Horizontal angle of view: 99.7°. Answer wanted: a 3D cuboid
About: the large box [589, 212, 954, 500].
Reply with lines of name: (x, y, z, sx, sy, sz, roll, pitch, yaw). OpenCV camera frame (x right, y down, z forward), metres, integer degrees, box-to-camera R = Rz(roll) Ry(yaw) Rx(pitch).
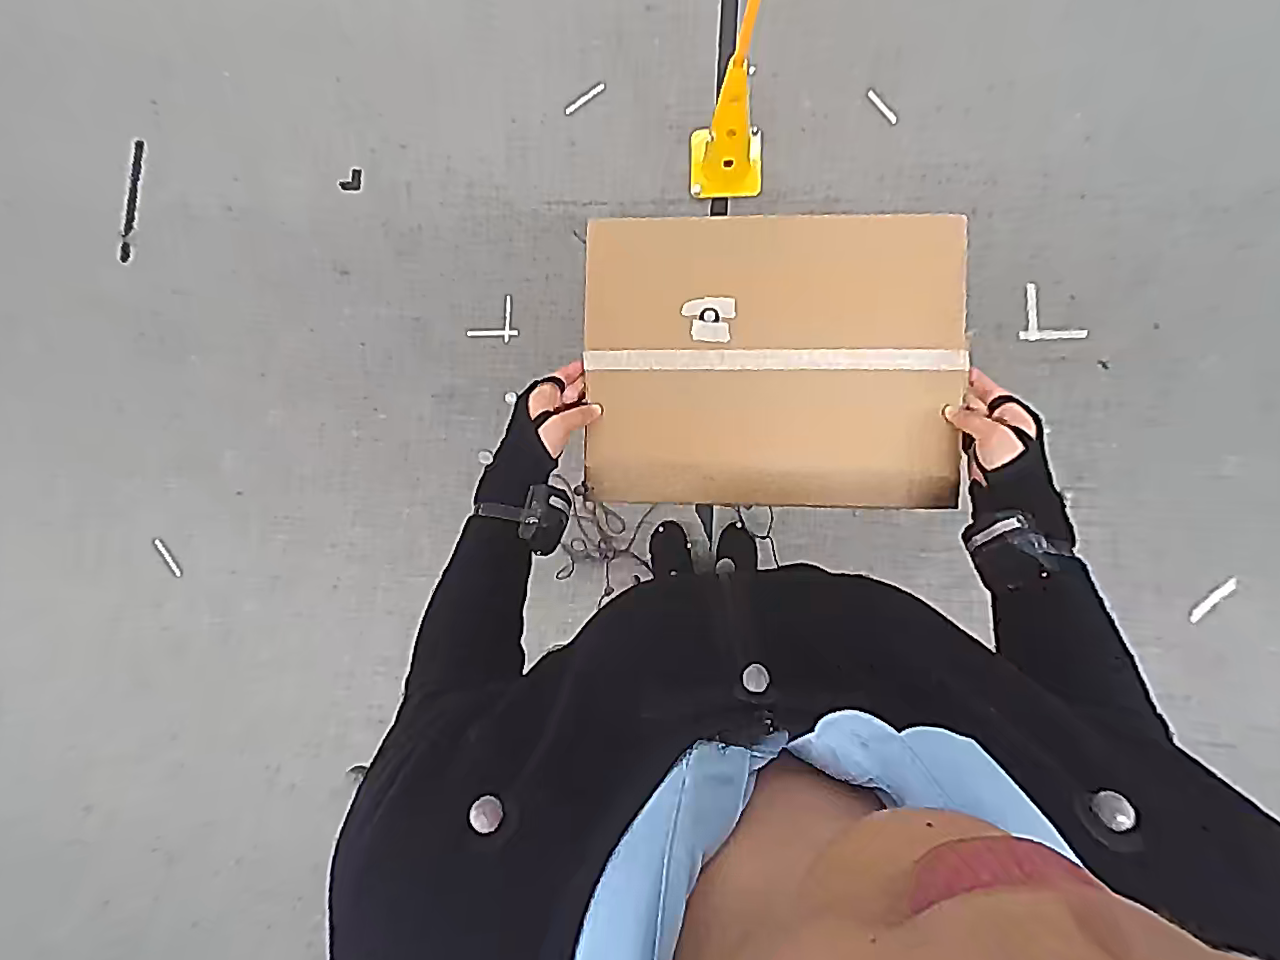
large box: (0.154, -0.138, 0.748, 0.408, 0.320, 0.320, 0, 90, 4)
